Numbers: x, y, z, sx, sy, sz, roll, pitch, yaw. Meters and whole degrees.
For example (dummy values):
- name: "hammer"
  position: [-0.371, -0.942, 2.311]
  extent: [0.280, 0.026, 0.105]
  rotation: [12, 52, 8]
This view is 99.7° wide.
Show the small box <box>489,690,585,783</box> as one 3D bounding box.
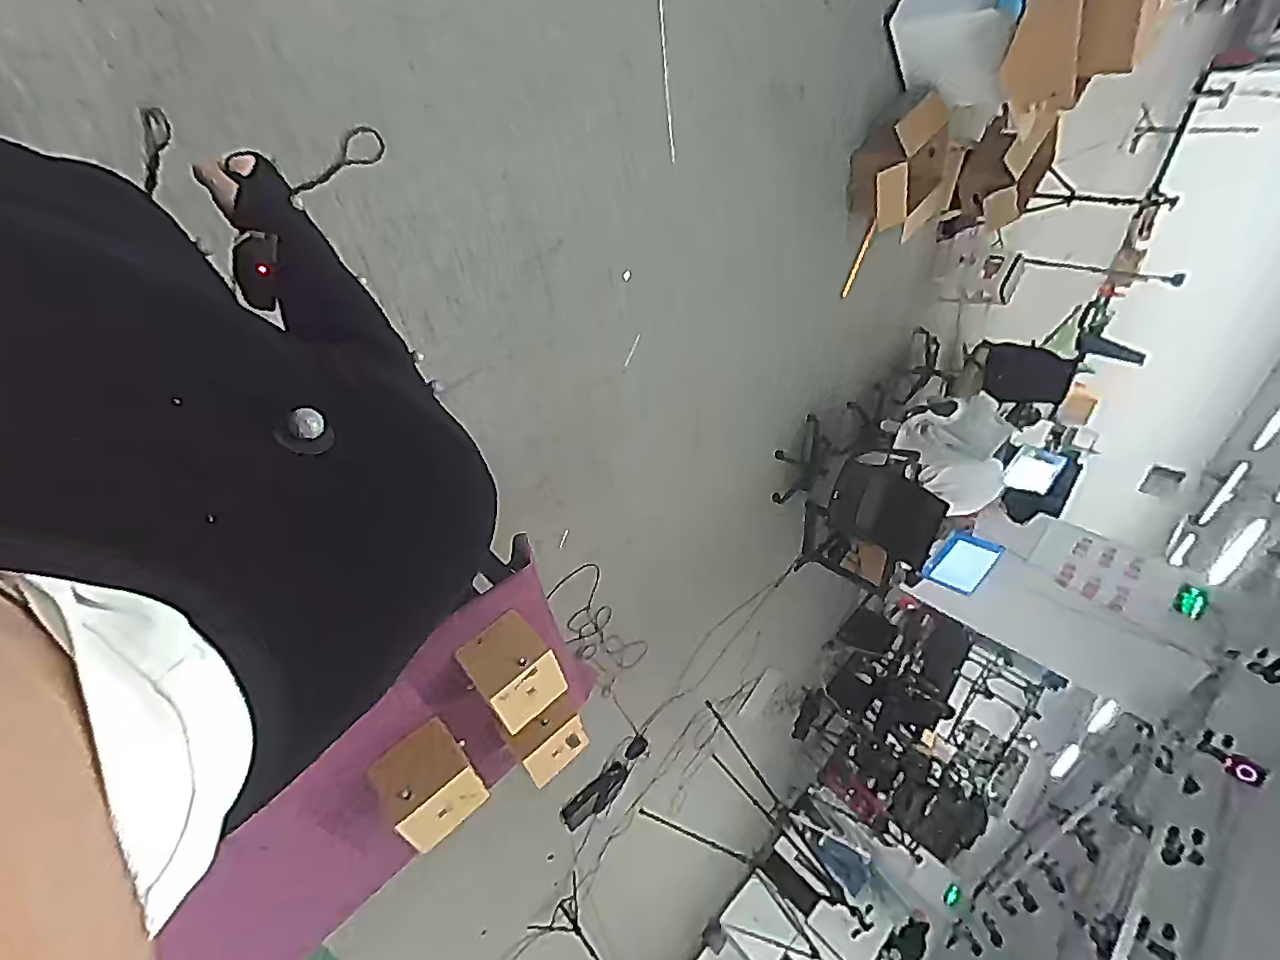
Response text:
- name: "small box"
  position: [-0.279, 0.665, 1.469]
  extent: [0.179, 0.176, 0.168]
  rotation: [-34, 135, -28]

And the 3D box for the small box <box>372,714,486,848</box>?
- name: "small box"
  position: [-0.491, 0.685, 1.244]
  extent: [0.179, 0.176, 0.168]
  rotation: [-33, 136, -28]

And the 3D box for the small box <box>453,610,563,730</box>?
- name: "small box"
  position: [-0.311, 0.444, 1.283]
  extent: [0.168, 0.176, 0.179]
  rotation: [-37, 139, -27]
